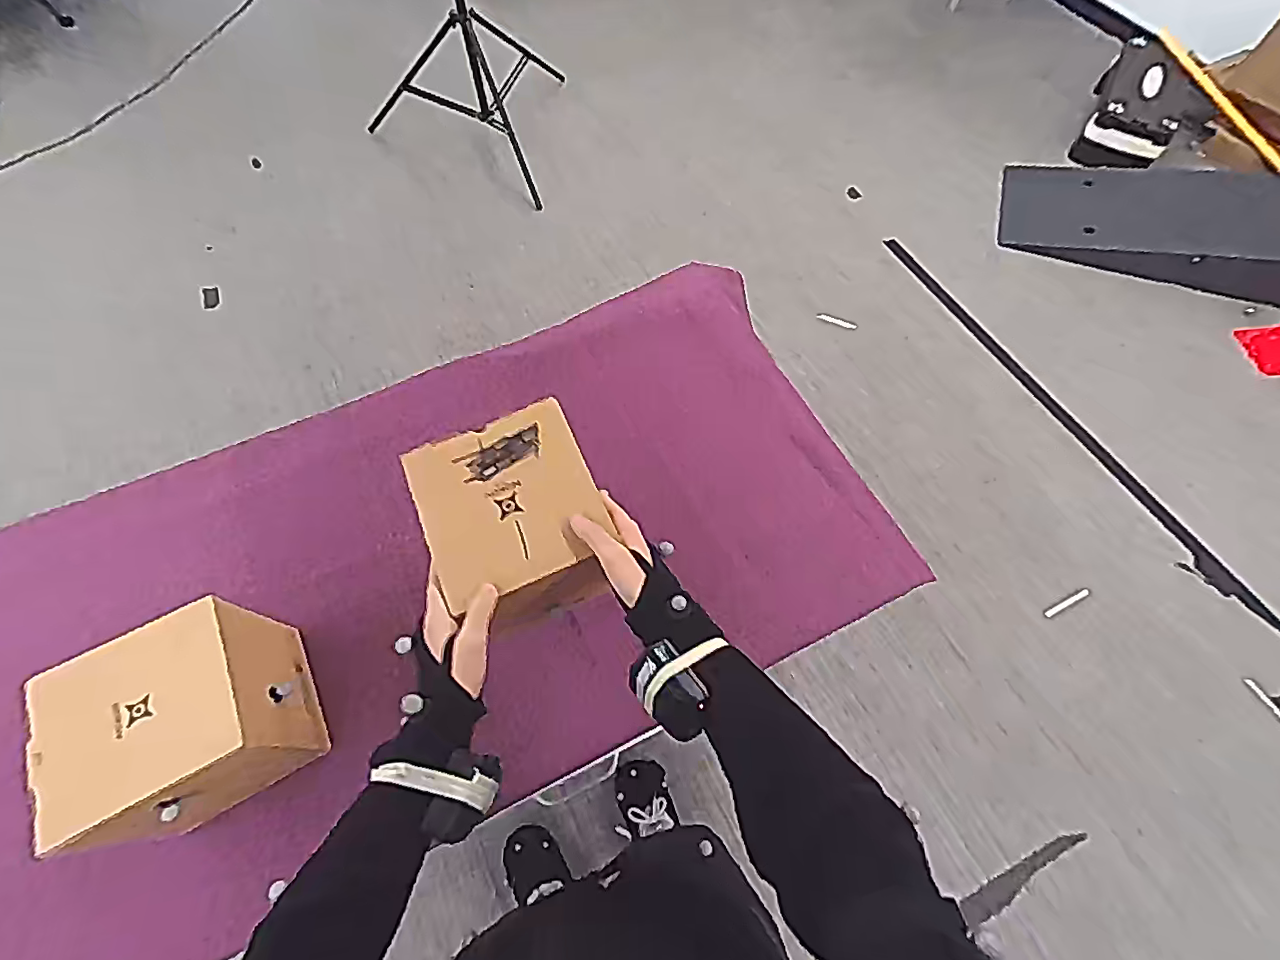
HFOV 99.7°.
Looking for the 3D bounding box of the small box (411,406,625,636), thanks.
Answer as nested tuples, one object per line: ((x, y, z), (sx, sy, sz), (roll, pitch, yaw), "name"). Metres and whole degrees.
((-0.124, 0.054, 0.599), (0.168, 0.176, 0.179), (-22, 69, -9), "small box")

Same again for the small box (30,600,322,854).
((-0.479, 0.258, 0.587), (0.179, 0.176, 0.168), (-28, 67, -13), "small box")
